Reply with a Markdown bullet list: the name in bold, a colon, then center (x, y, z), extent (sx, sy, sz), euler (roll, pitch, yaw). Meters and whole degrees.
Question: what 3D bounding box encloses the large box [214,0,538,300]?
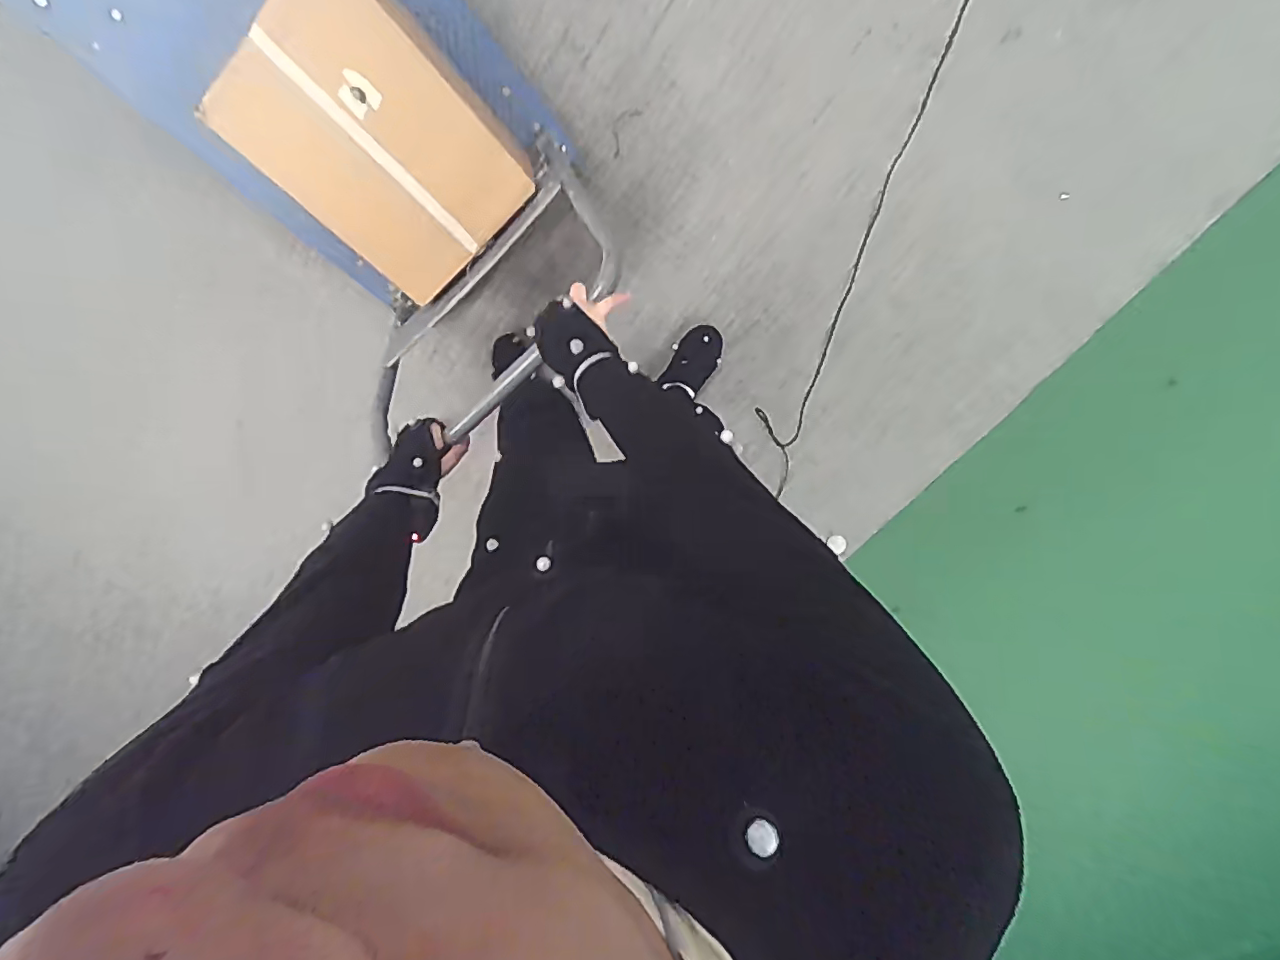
- **large box**: center (-0.440, -0.627, 1.009), extent (0.320, 0.320, 0.408), euler (-38, 126, 16)
